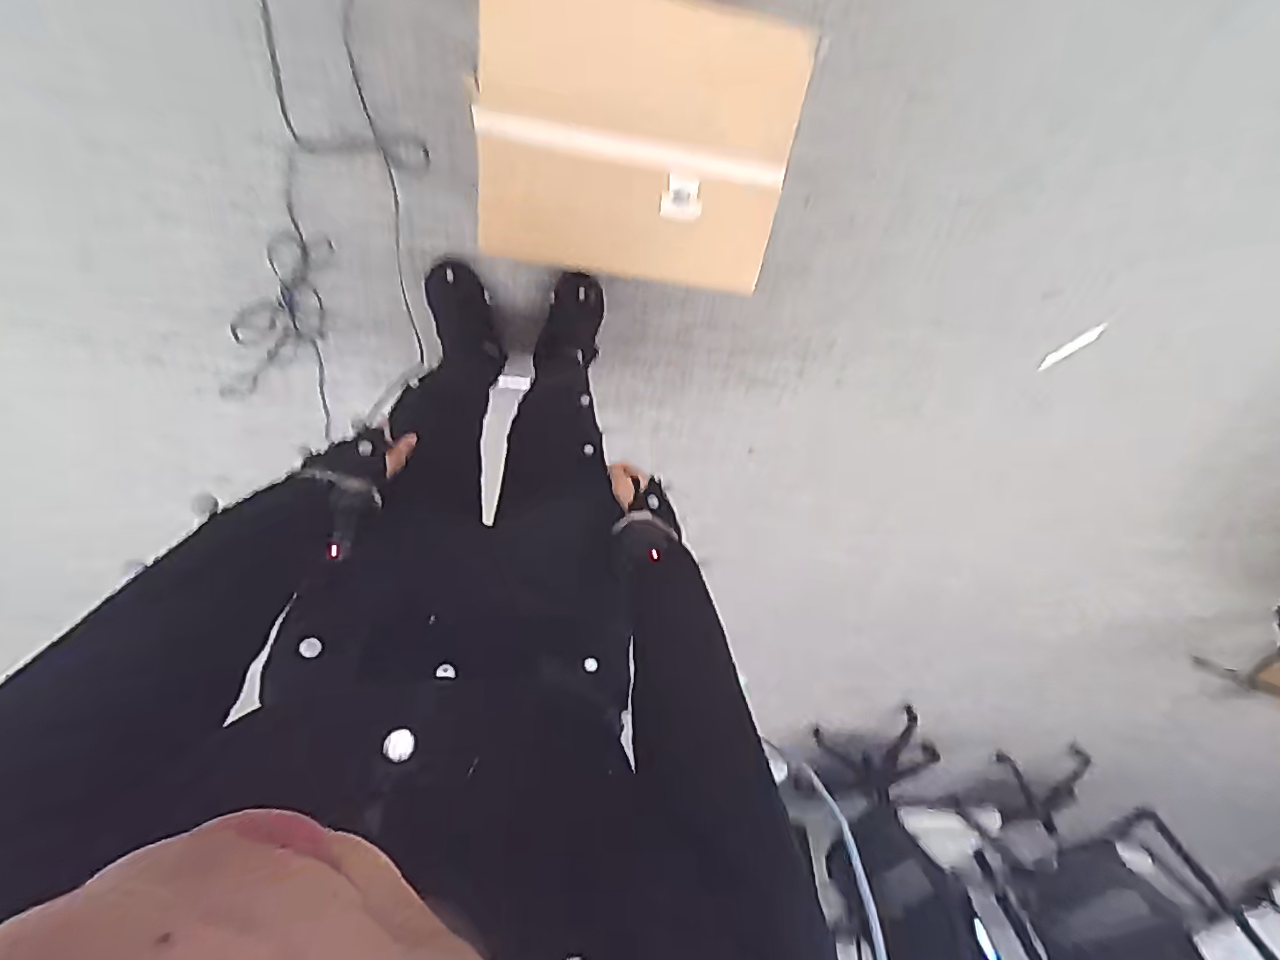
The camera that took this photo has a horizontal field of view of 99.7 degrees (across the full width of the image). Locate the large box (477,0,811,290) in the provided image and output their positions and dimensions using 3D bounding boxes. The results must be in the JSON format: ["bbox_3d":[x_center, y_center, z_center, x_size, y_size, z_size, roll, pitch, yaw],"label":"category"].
[{"bbox_3d":[-0.027,-0.505,0.824,0.408,0.320,0.320,4,122,-12],"label":"large box"}]
